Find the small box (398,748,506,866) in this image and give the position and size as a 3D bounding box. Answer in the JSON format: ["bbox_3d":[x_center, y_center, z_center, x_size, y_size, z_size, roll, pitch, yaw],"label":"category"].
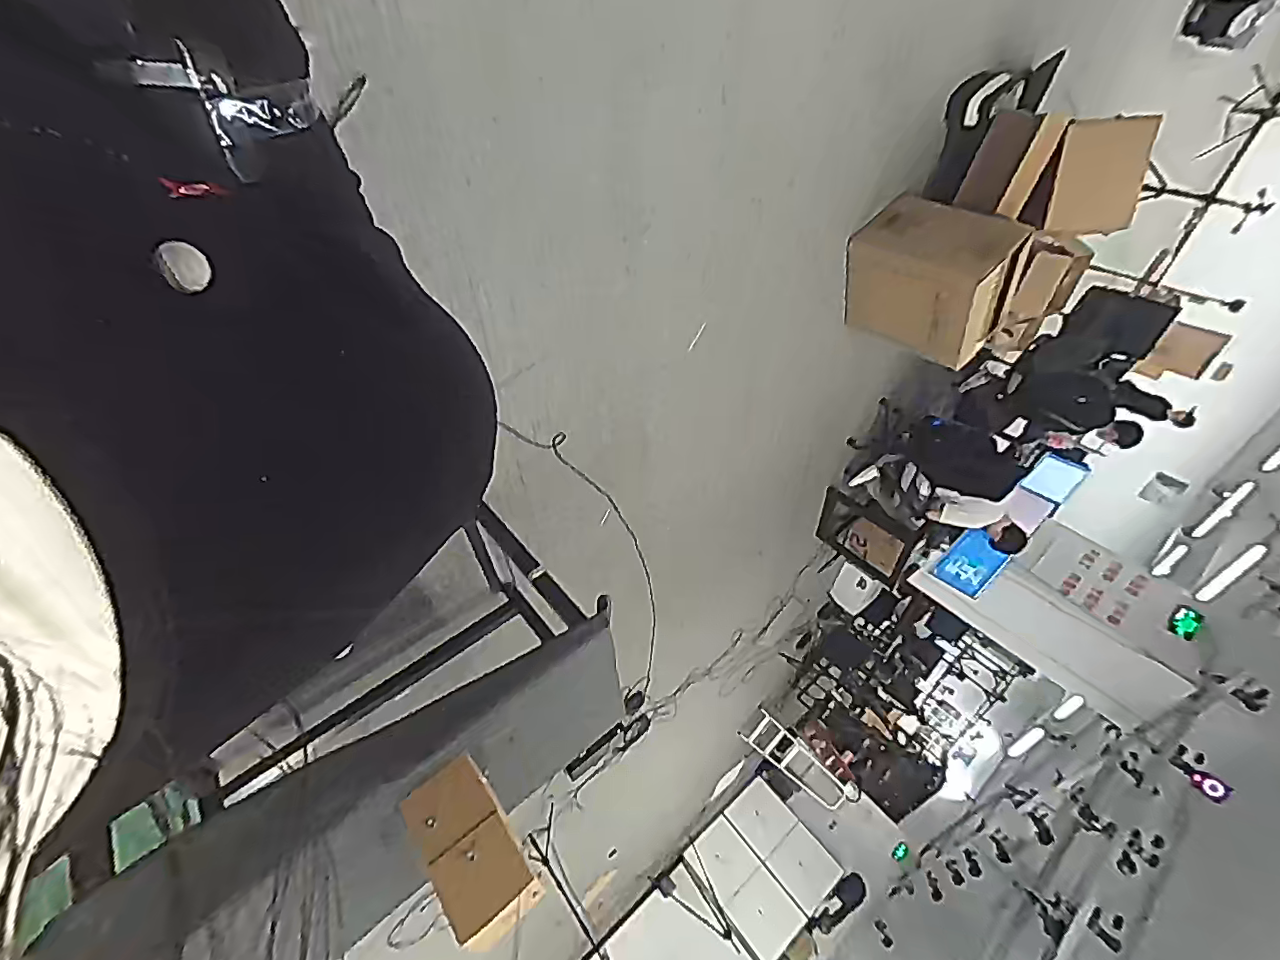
[{"bbox_3d":[-0.454,0.791,1.297,0.179,0.176,0.168,-33,144,-26],"label":"small box"}]

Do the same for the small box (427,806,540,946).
[{"bbox_3d":[-0.351,0.877,1.203,0.179,0.176,0.168,-31,143,-25],"label":"small box"}]
